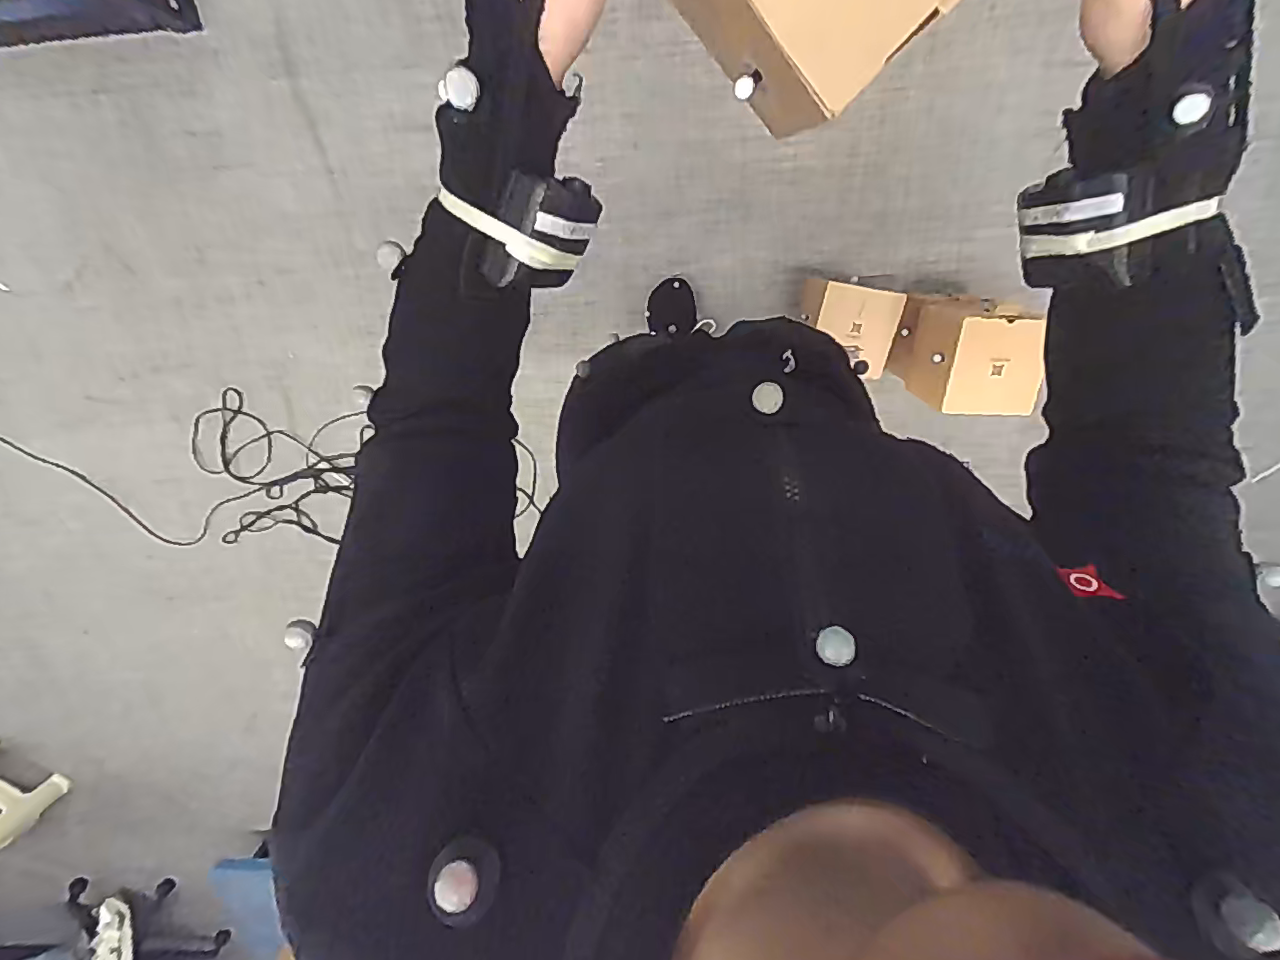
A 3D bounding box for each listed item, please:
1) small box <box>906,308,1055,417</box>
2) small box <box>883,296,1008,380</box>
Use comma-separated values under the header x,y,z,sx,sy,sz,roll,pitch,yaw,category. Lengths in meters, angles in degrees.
x,y,z,sx,sy,sz,roll,pitch,yaw,category
0.636,-0.230,1.038,0.168,0.176,0.179,1,113,2,small box
0.653,-0.307,1.182,0.168,0.176,0.179,1,112,1,small box
